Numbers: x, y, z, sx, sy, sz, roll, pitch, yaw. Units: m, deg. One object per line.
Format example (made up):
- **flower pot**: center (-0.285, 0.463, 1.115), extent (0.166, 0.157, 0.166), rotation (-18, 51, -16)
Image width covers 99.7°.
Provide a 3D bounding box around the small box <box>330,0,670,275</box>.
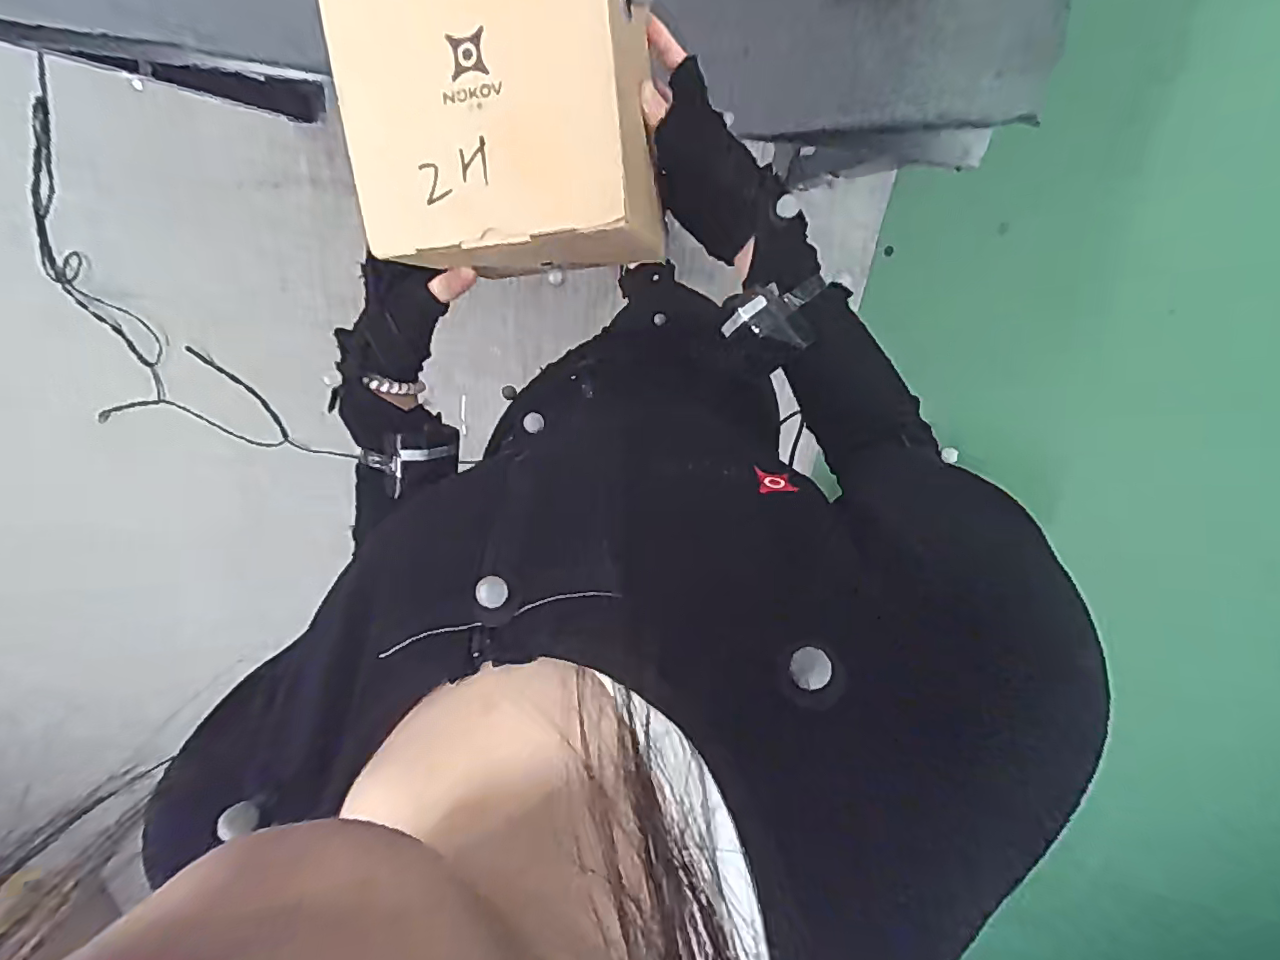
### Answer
- **small box**: center (-0.074, -0.248, 0.371), extent (0.168, 0.176, 0.179), rotation (-2, 105, 12)
